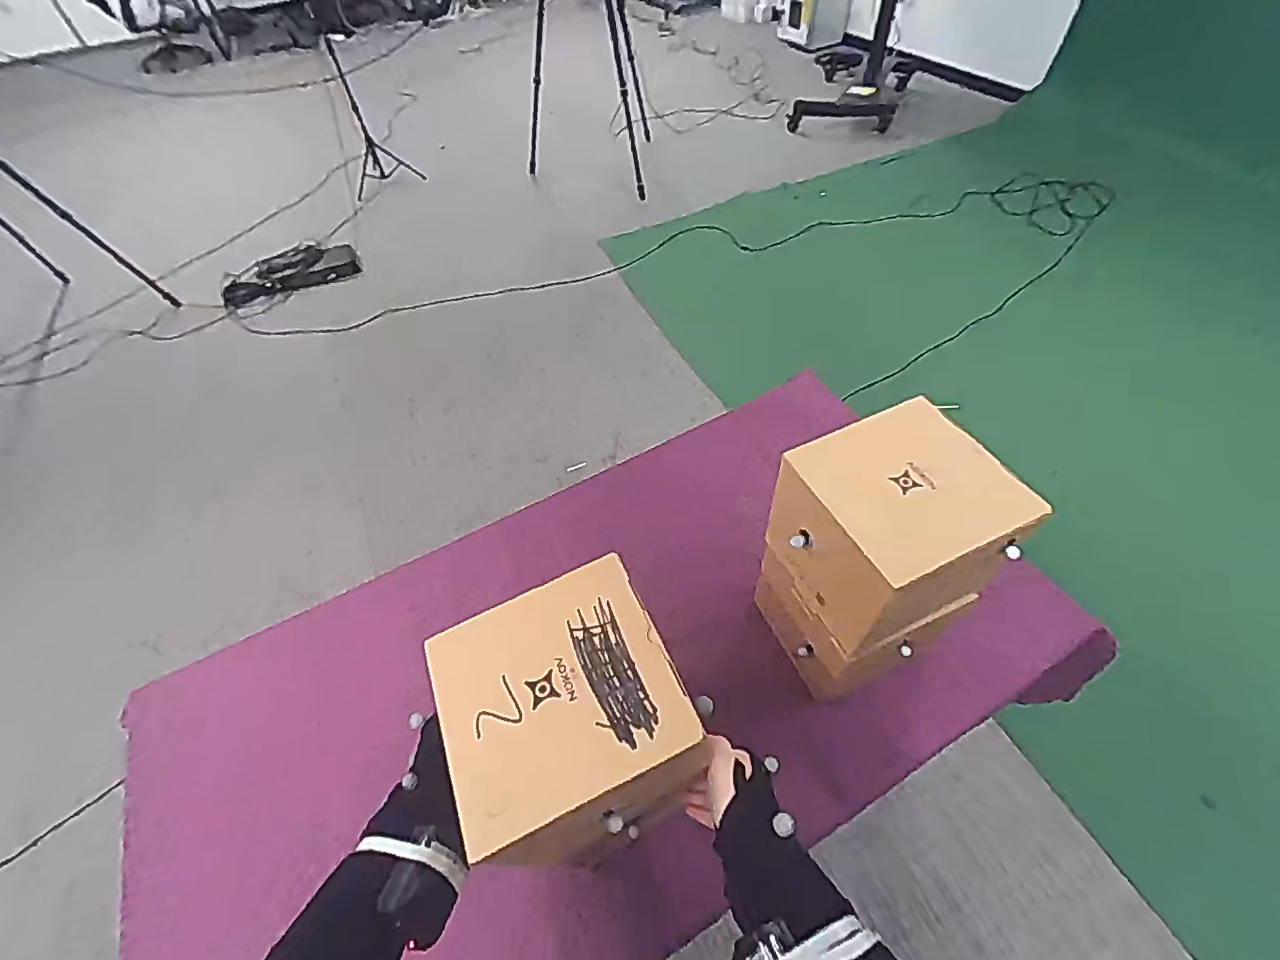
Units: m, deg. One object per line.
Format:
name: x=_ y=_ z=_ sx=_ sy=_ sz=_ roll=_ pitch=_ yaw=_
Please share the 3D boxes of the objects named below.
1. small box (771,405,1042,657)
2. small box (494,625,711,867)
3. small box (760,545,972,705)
small box: x=0.253 y=0.057 z=0.568 sx=0.179 sy=0.176 sz=0.168 roll=-22 pitch=54 yaw=-12
small box: x=-0.033 y=0.300 z=0.602 sx=0.179 sy=0.176 sz=0.168 roll=-27 pitch=54 yaw=-11
small box: x=0.267 y=0.161 z=0.693 sx=0.179 sy=0.176 sz=0.168 roll=-20 pitch=54 yaw=-11
